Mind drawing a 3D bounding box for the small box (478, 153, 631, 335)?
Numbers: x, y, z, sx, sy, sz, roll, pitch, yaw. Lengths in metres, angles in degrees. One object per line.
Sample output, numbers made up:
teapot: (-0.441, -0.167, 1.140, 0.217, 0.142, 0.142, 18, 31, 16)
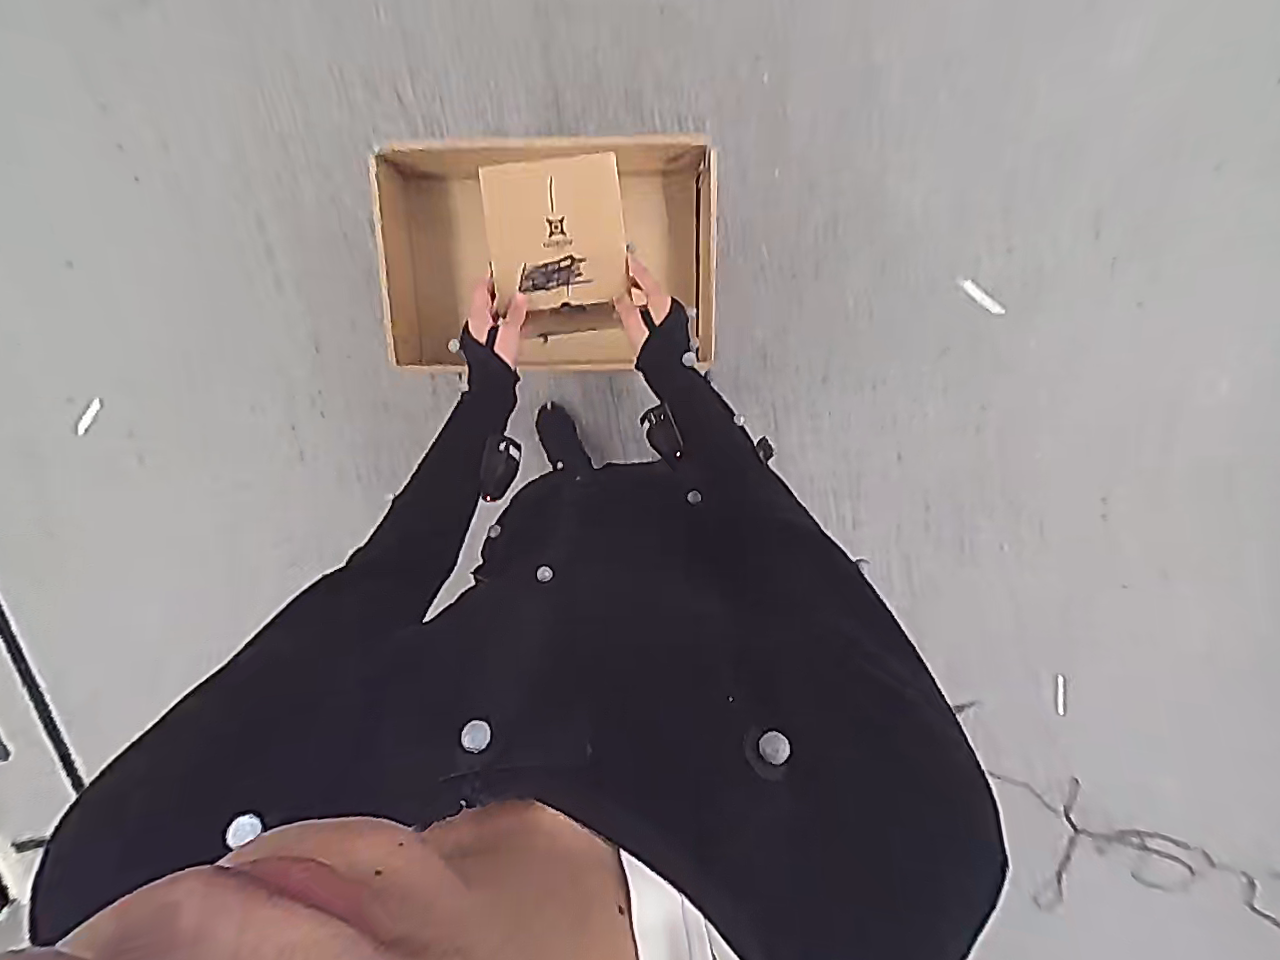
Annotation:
small box: (-0.102, -0.298, 0.723, 0.168, 0.176, 0.179, -7, 95, -1)
